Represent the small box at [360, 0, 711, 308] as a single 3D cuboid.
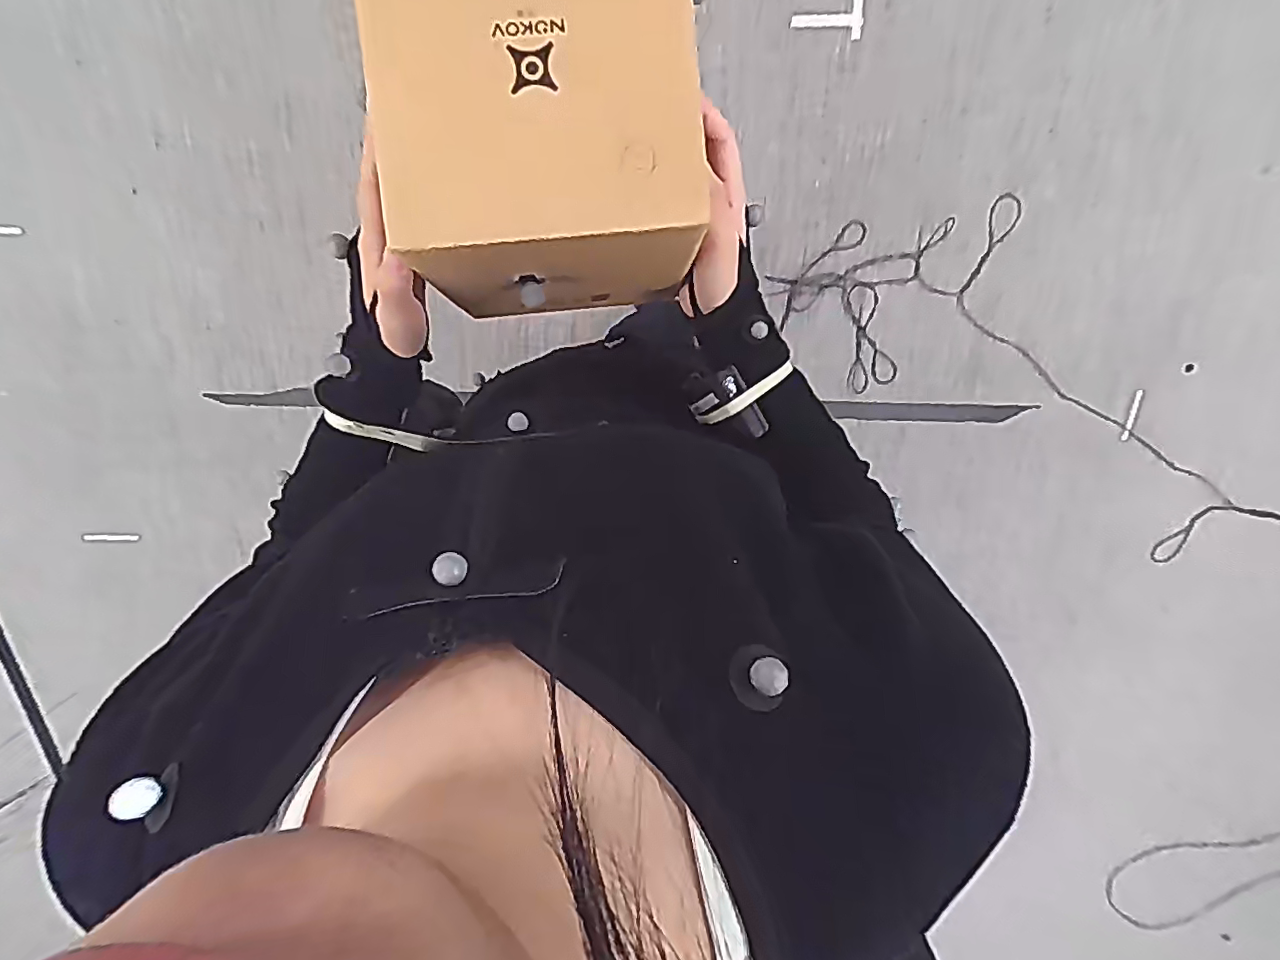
[{"bbox_3d":[-0.054,-0.216,0.345,0.168,0.176,0.179,-6,94,-2],"label":"small box"}]
